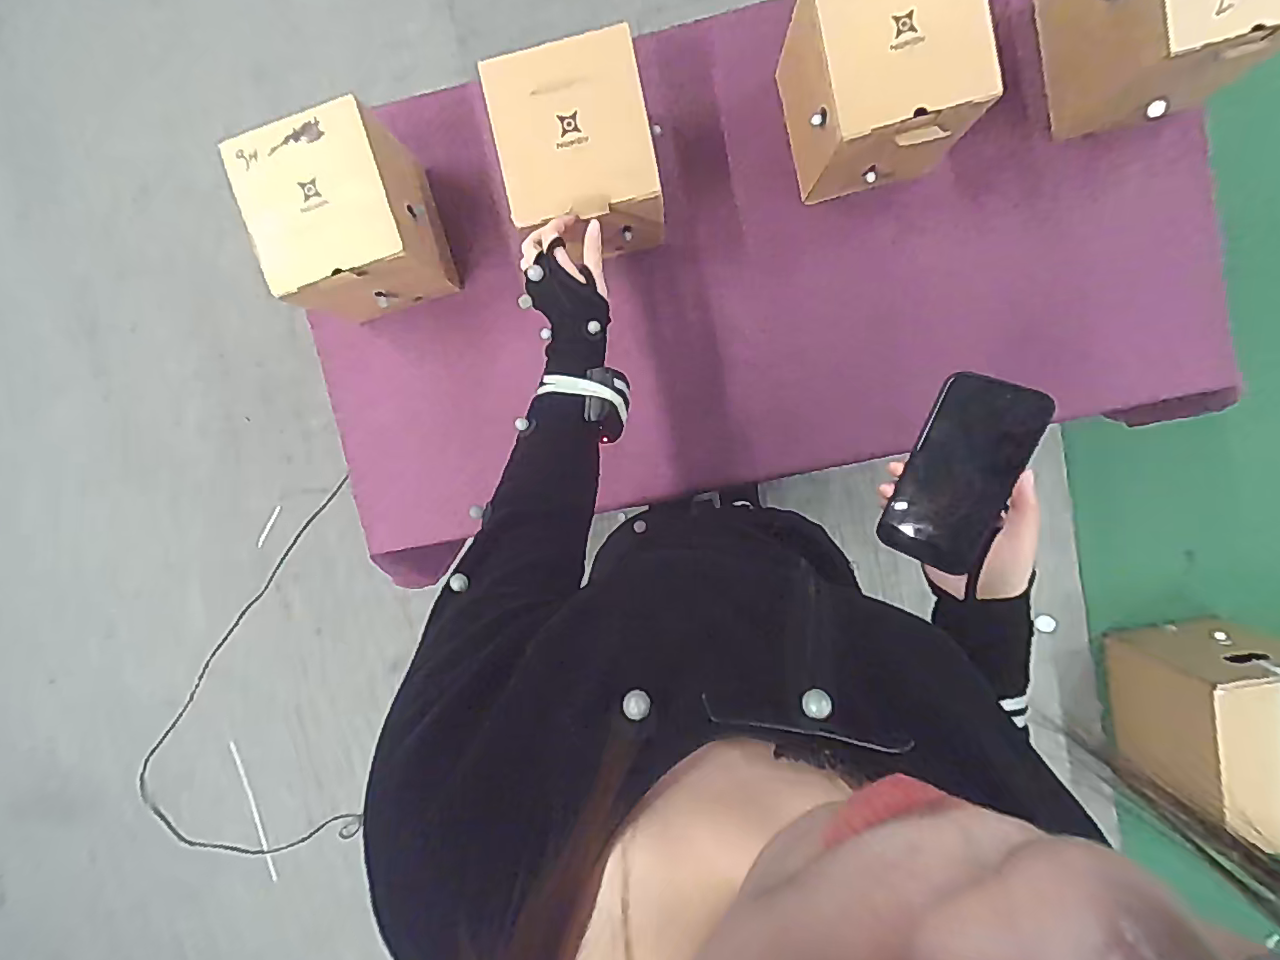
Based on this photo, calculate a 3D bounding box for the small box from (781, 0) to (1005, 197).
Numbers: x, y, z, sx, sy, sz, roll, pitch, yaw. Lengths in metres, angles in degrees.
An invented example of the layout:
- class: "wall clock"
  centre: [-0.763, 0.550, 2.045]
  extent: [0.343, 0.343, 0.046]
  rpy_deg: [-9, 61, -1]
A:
- class: "small box"
  centre: [0.271, -0.463, 0.620]
  extent: [0.168, 0.176, 0.179]
  rpy_deg: [-14, 96, 5]

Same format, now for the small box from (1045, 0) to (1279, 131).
- class: "small box"
  centre: [0.581, -0.528, 0.587]
  extent: [0.168, 0.176, 0.179]
  rpy_deg: [-12, 96, 6]

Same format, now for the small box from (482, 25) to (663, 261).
- class: "small box"
  centre: [-0.067, -0.381, 0.652]
  extent: [0.168, 0.176, 0.179]
  rpy_deg: [-12, 95, 4]

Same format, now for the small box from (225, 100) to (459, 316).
- class: "small box"
  centre: [-0.352, -0.316, 0.676]
  extent: [0.168, 0.176, 0.179]
  rpy_deg: [-16, 96, 5]
